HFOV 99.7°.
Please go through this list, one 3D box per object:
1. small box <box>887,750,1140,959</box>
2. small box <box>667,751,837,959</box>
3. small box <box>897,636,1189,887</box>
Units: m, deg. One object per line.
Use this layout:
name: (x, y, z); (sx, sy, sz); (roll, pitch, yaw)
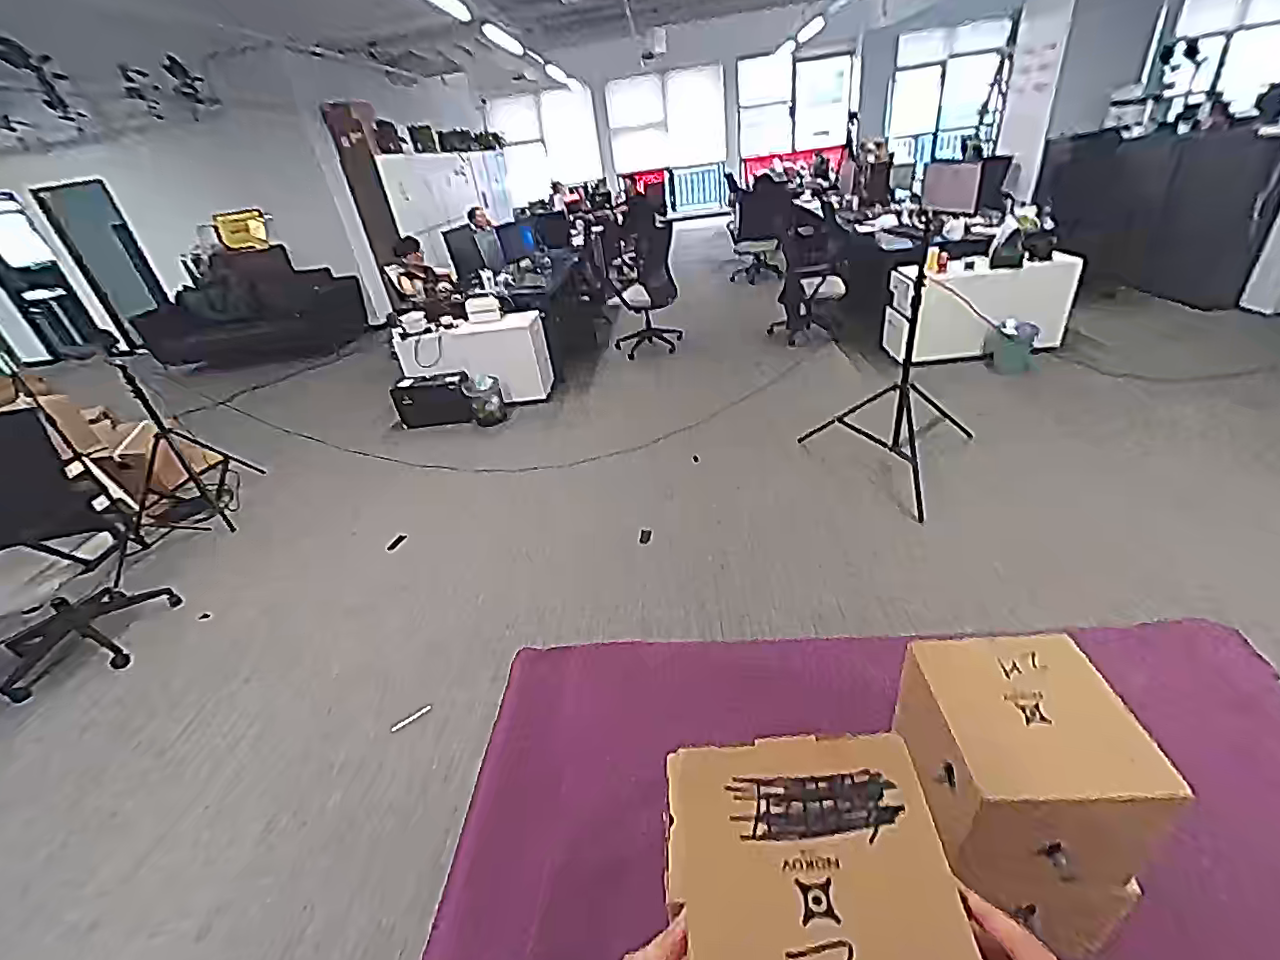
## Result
small box: (0.412, 0.433, 0.637); (0.179, 0.176, 0.168); (-5, 31, 7)
small box: (0.129, 0.458, 0.660); (0.179, 0.176, 0.168); (-4, 32, 6)
small box: (0.385, 0.289, 0.560); (0.168, 0.176, 0.179); (-5, 31, 7)
